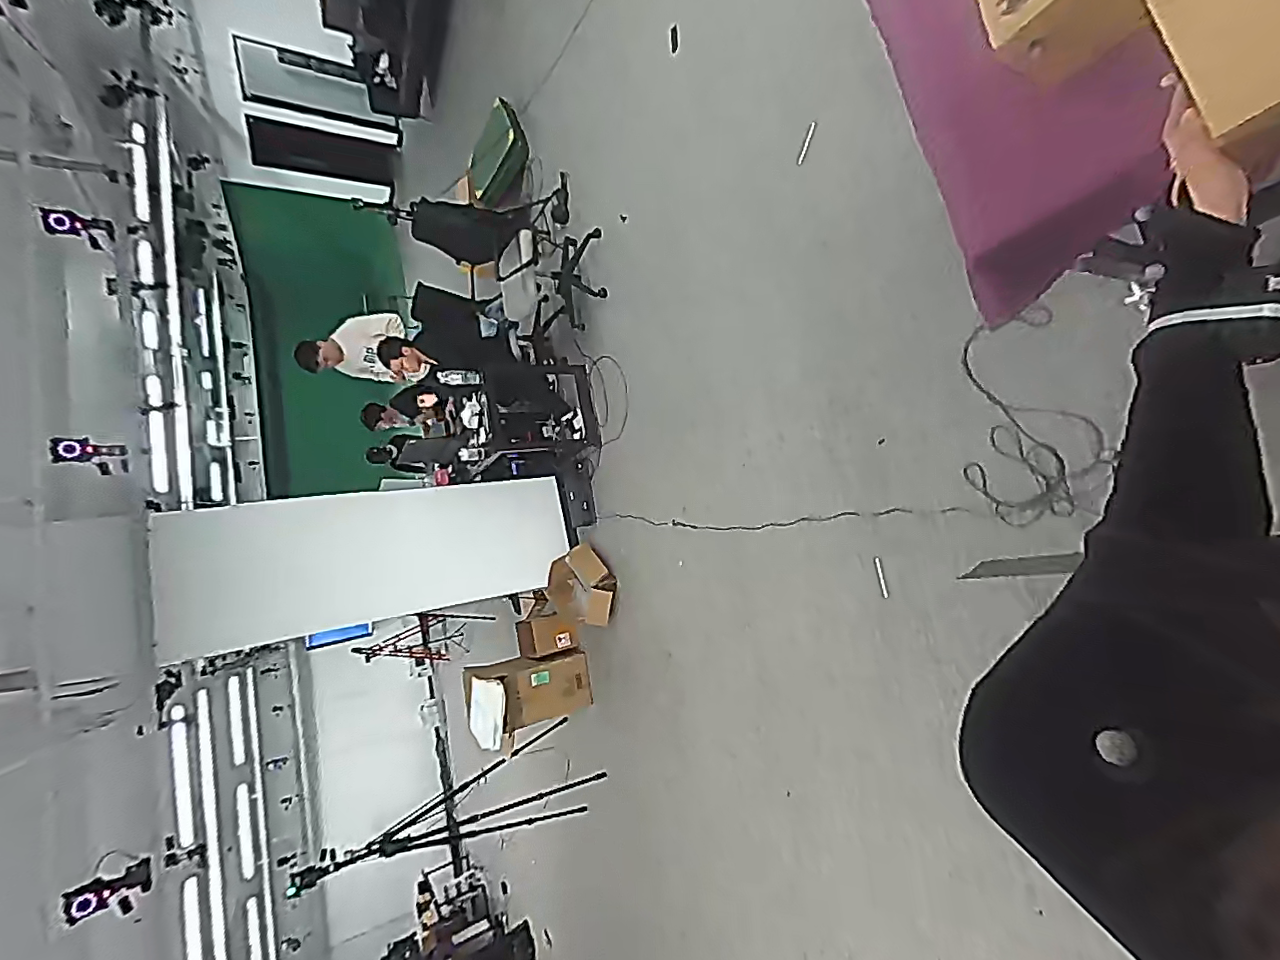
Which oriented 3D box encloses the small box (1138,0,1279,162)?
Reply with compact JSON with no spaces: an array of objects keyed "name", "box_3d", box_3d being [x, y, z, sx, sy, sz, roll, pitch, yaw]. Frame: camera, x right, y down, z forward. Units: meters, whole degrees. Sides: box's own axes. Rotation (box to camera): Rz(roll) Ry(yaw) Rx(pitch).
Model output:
[{"name":"small box","box_3d":[0.501,-0.364,0.383,0.179,0.176,0.168,-28,78,52]}]
